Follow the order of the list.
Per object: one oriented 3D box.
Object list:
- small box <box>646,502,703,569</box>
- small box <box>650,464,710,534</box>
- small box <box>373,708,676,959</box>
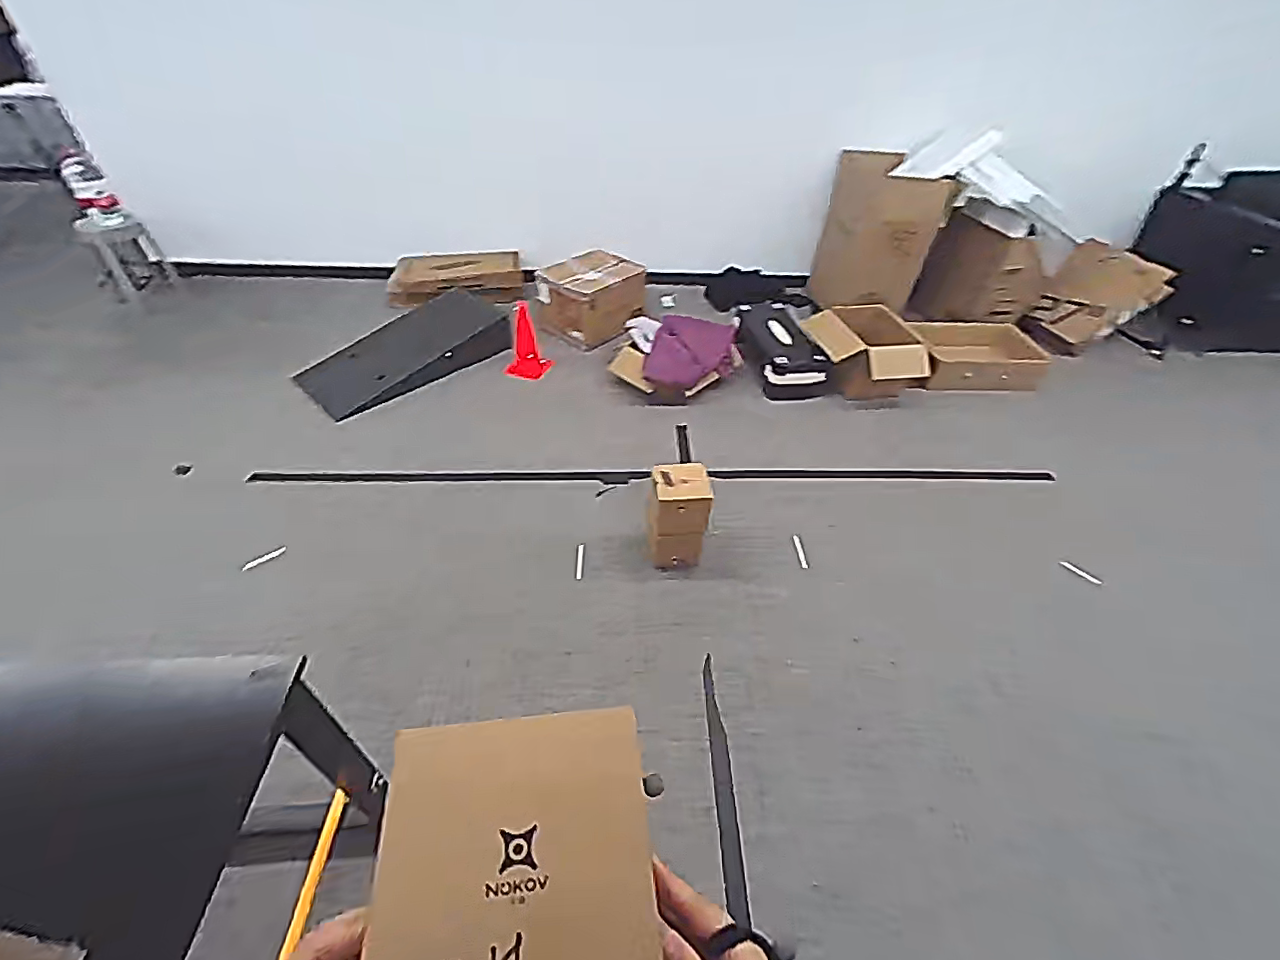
[{"bbox_3d":[0.117,0.189,1.909,0.168,0.176,0.179,-6,45,-7],"label":"small box"},{"bbox_3d":[0.127,0.067,1.799,0.179,0.176,0.168,-3,43,-6],"label":"small box"},{"bbox_3d":[-0.070,0.284,0.381,0.168,0.176,0.179,-3,49,-6],"label":"small box"}]
